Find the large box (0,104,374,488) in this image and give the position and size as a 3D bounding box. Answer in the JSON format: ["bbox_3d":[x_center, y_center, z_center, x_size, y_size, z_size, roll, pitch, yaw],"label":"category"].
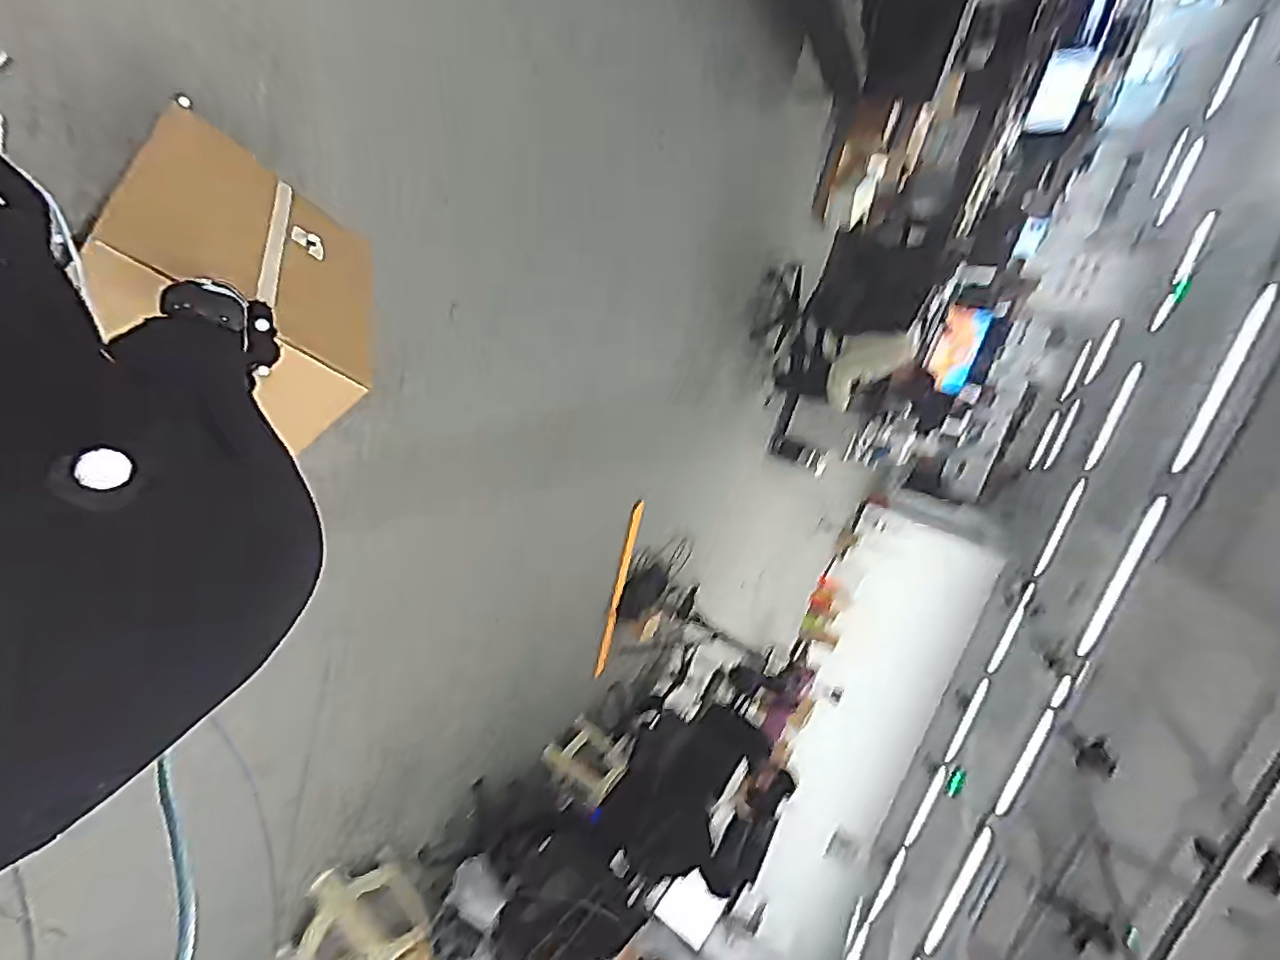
[{"bbox_3d":[-0.653,-0.261,0.833,0.320,0.408,0.320,-35,144,17],"label":"large box"}]
